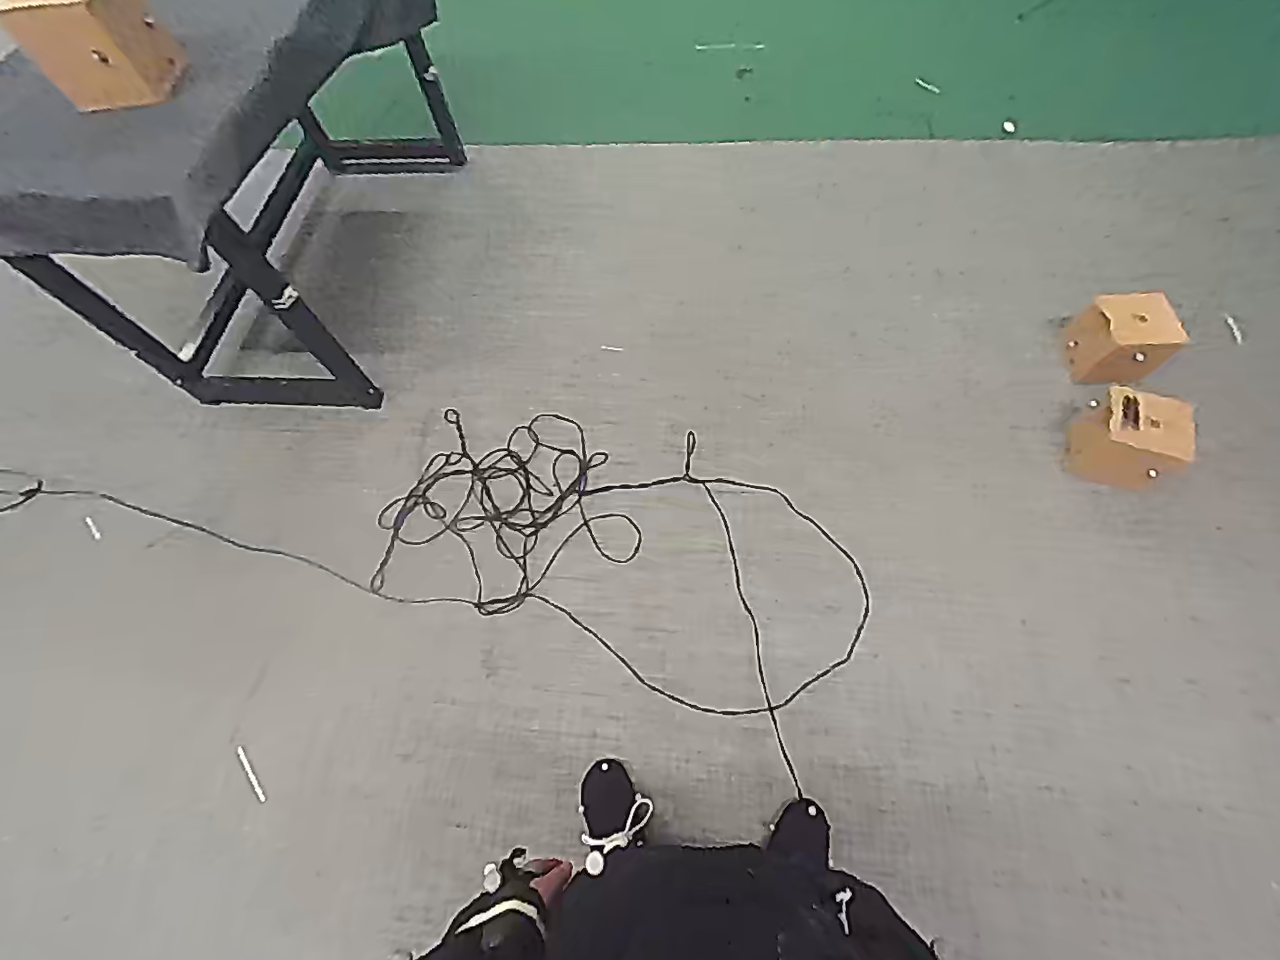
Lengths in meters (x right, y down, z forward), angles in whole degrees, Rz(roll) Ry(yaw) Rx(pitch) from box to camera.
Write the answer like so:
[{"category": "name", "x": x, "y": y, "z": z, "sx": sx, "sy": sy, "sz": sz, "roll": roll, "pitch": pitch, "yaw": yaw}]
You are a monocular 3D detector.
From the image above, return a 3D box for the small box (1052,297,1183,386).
[{"category": "small box", "x": 1.270, "y": -0.368, "z": 1.452, "sx": 0.179, "sy": 0.176, "sz": 0.168, "roll": -2, "pitch": 64, "yaw": 3}]

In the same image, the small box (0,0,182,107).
[{"category": "small box", "x": -1.040, "y": -0.851, "z": 1.033, "sx": 0.179, "sy": 0.176, "sz": 0.168, "roll": -5, "pitch": 62, "yaw": 3}]
